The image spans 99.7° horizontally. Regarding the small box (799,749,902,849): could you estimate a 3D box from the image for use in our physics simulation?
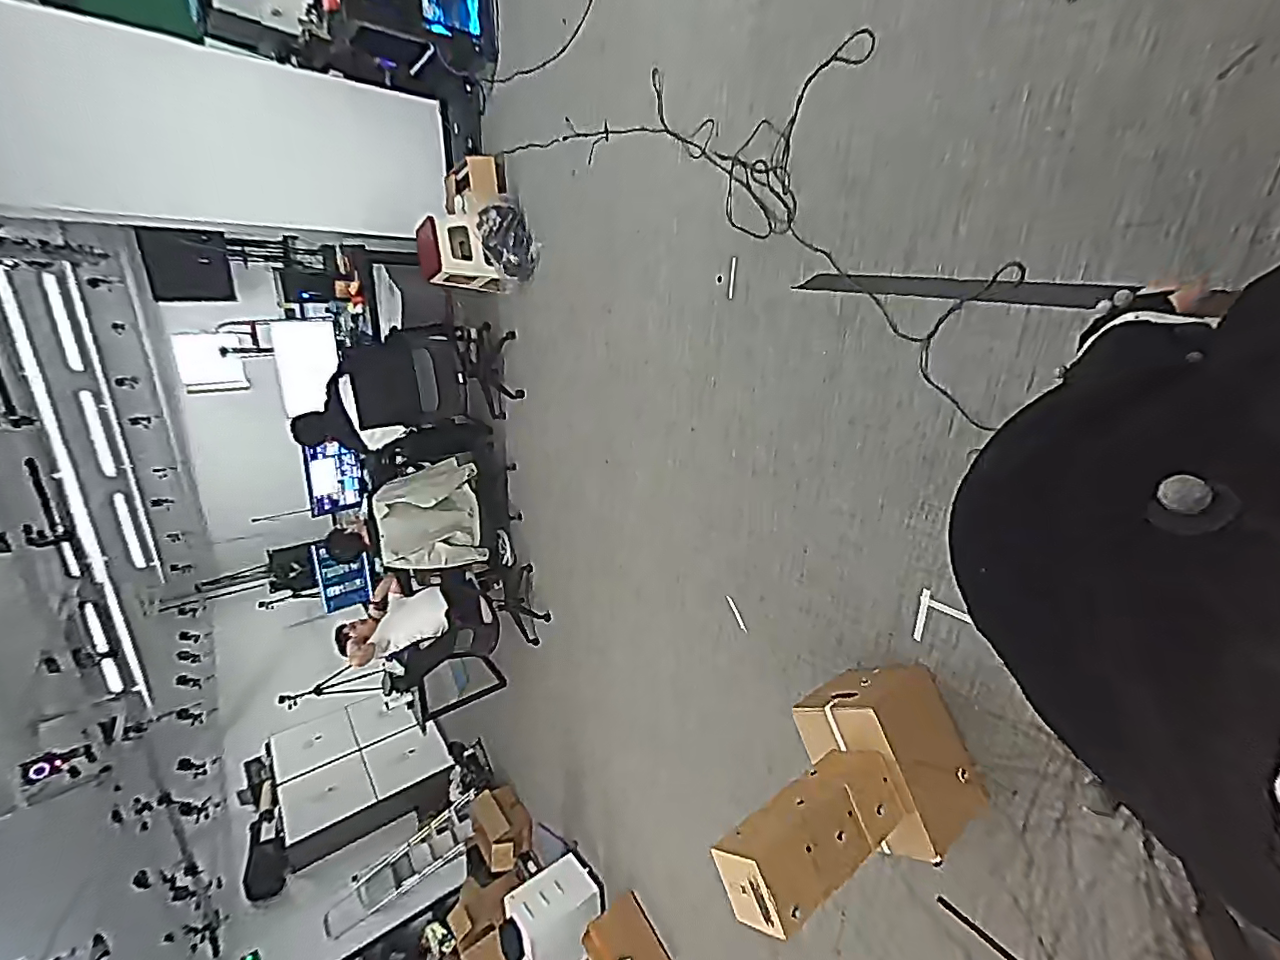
[{"bbox_3d":[0.570,0.845,1.453,0.179,0.176,0.168,-36,72,53],"label":"small box"}]

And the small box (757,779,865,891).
[{"bbox_3d":[0.437,0.882,1.364,0.179,0.176,0.168,-35,72,52],"label":"small box"}]
